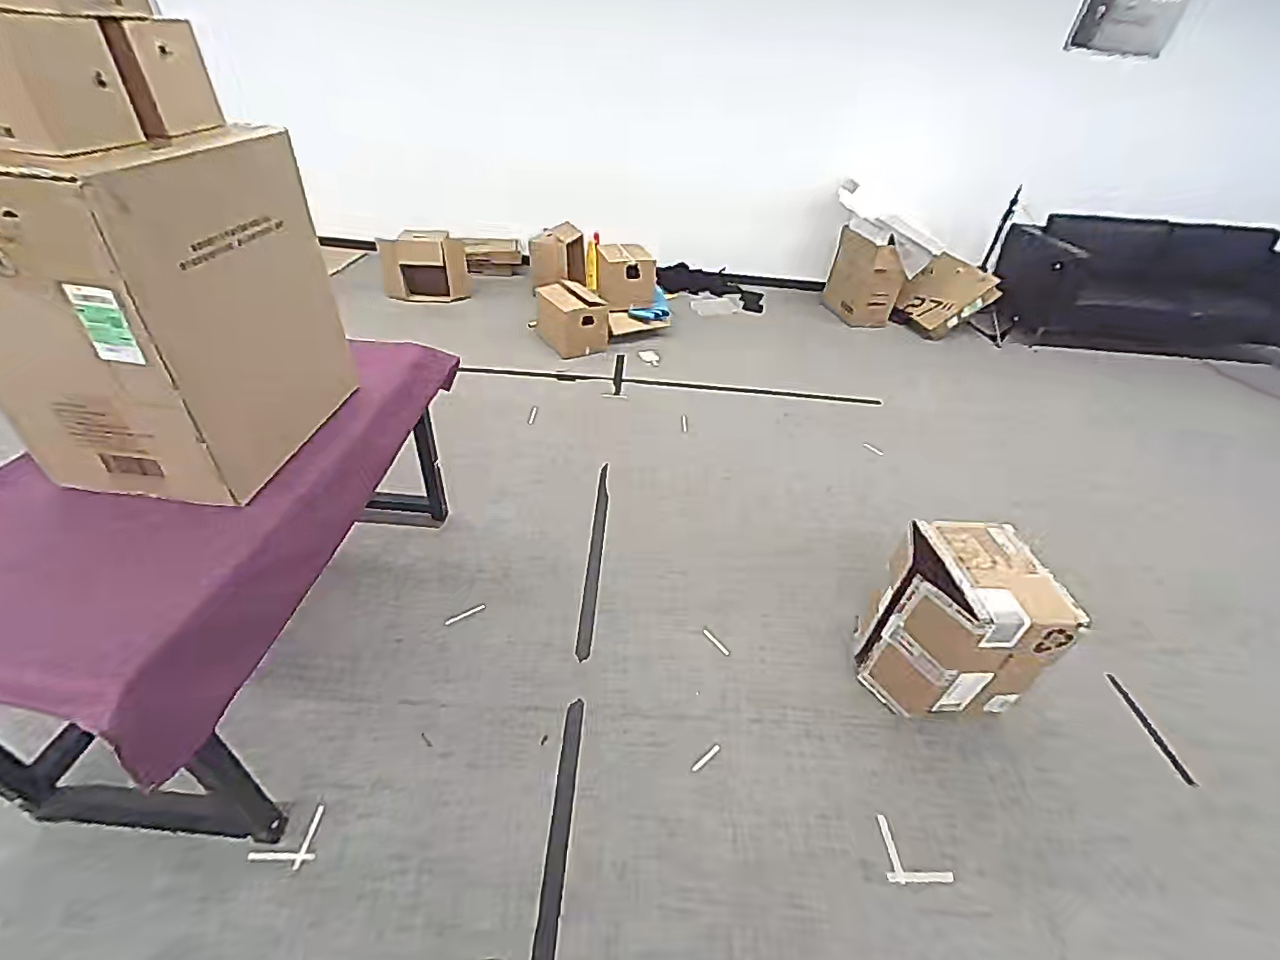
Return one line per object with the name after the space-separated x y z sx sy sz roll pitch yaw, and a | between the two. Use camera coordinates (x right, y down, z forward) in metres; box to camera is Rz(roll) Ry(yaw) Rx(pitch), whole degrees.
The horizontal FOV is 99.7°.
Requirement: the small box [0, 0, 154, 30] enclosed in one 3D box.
-0.918 -0.803 0.822 0.179 0.176 0.168 9 40 5 | small box

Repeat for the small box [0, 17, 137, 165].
-0.926 -0.590 0.817 0.168 0.176 0.179 3 38 -2 | small box

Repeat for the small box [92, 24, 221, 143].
-0.925 -0.731 0.992 0.168 0.176 0.179 4 39 -2 | small box
